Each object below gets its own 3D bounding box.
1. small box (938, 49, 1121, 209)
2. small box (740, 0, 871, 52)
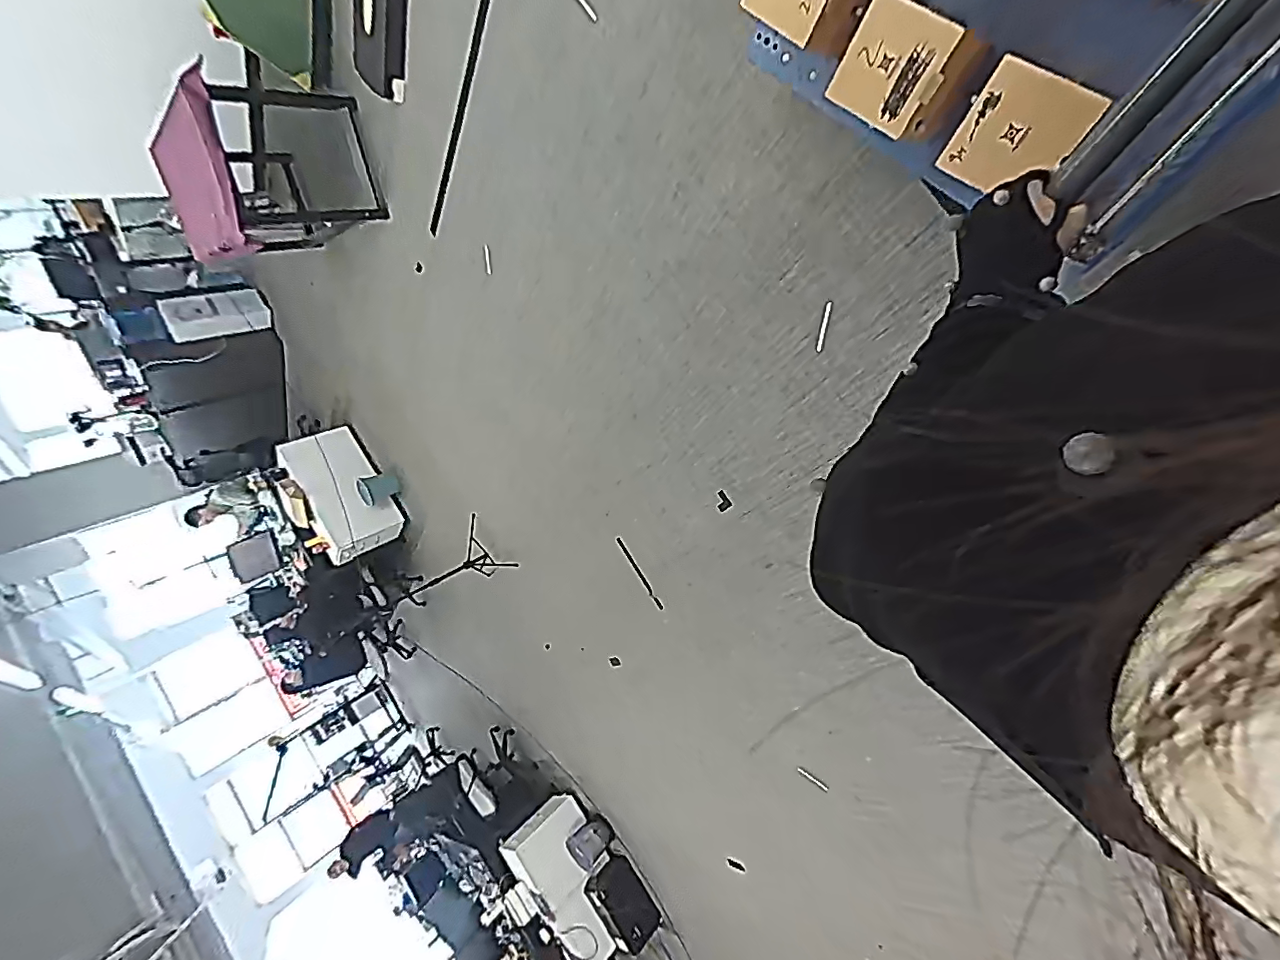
[{"bbox_3d":[0.647,-0.577,0.898,0.179,0.176,0.168,43,136,19],"label":"small box"},{"bbox_3d":[0.328,-0.943,1.017,0.179,0.176,0.168,47,138,15],"label":"small box"}]
